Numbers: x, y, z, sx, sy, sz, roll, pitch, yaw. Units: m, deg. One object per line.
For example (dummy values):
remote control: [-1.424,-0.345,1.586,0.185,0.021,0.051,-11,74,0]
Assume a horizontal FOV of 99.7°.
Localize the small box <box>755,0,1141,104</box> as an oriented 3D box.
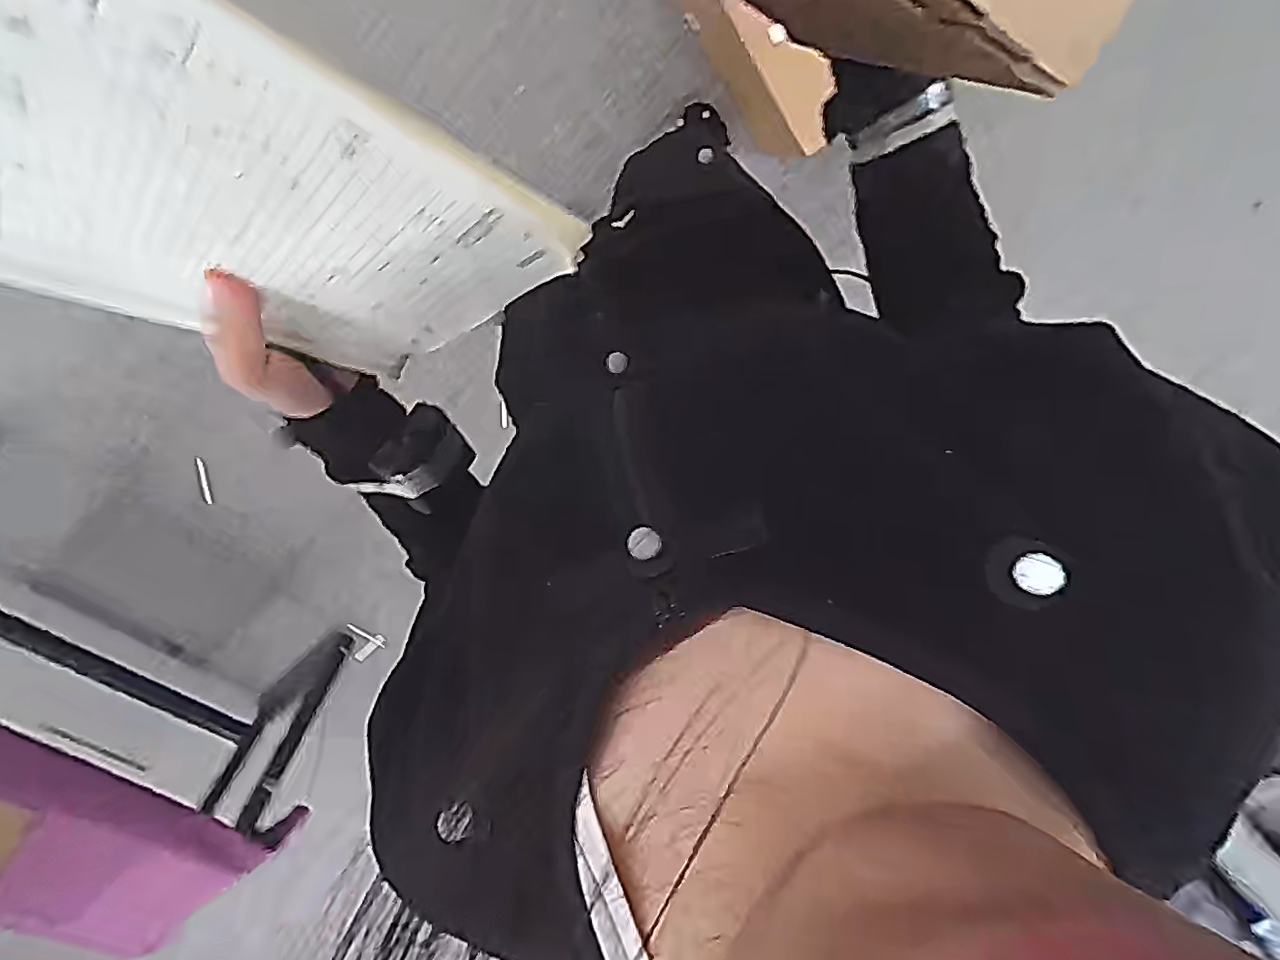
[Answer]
small box: [0.099,-0.269,0.181,0.168,0.176,0.179,4,128,-30]
